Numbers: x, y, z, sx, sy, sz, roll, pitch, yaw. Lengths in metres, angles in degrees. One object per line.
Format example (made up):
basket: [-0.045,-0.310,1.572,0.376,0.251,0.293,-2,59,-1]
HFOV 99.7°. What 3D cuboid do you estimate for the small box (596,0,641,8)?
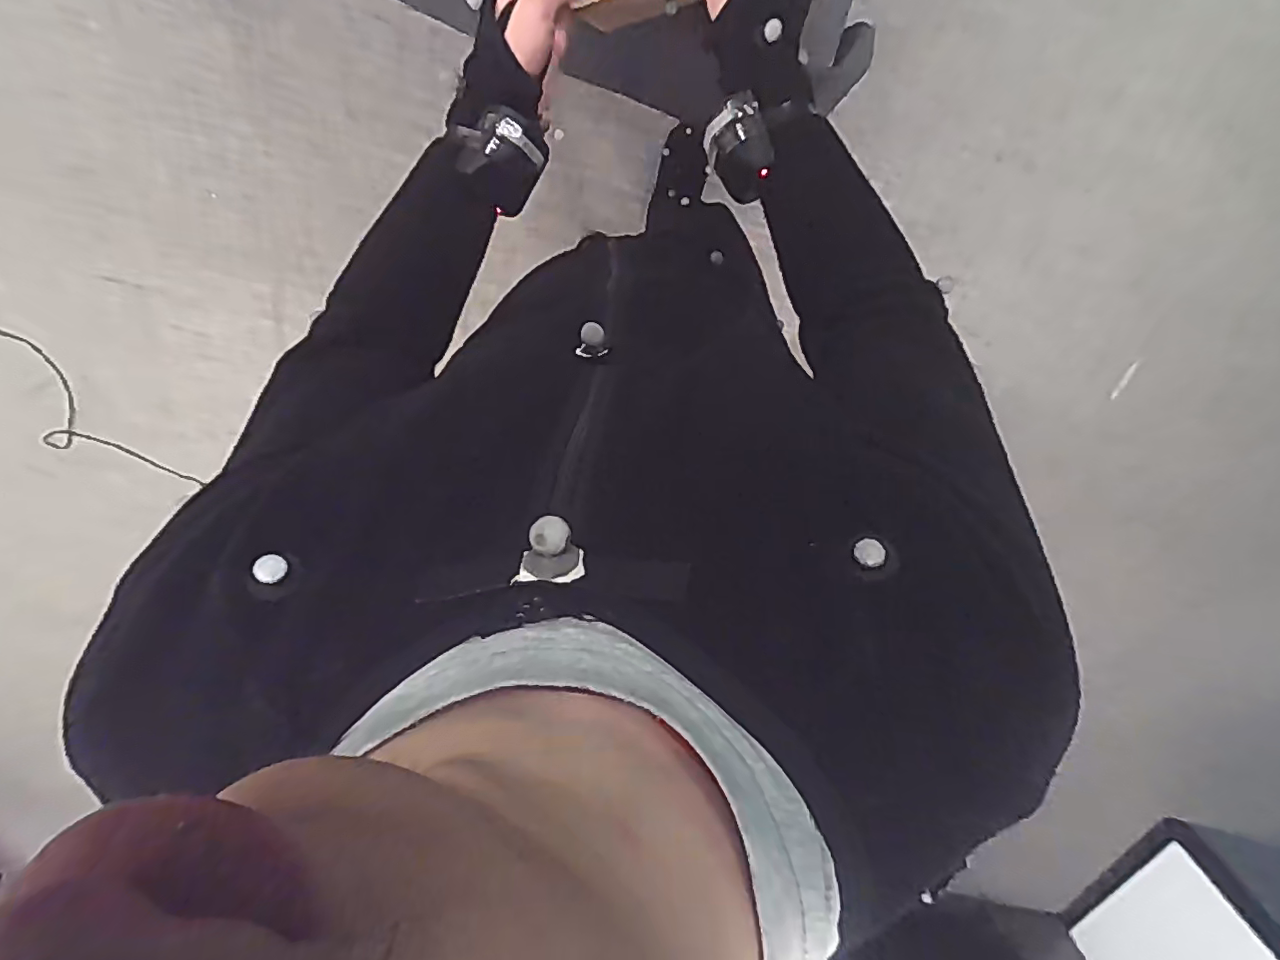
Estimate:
small box: [0.021,-0.518,0.435,0.179,0.176,0.168,-8,124,13]
